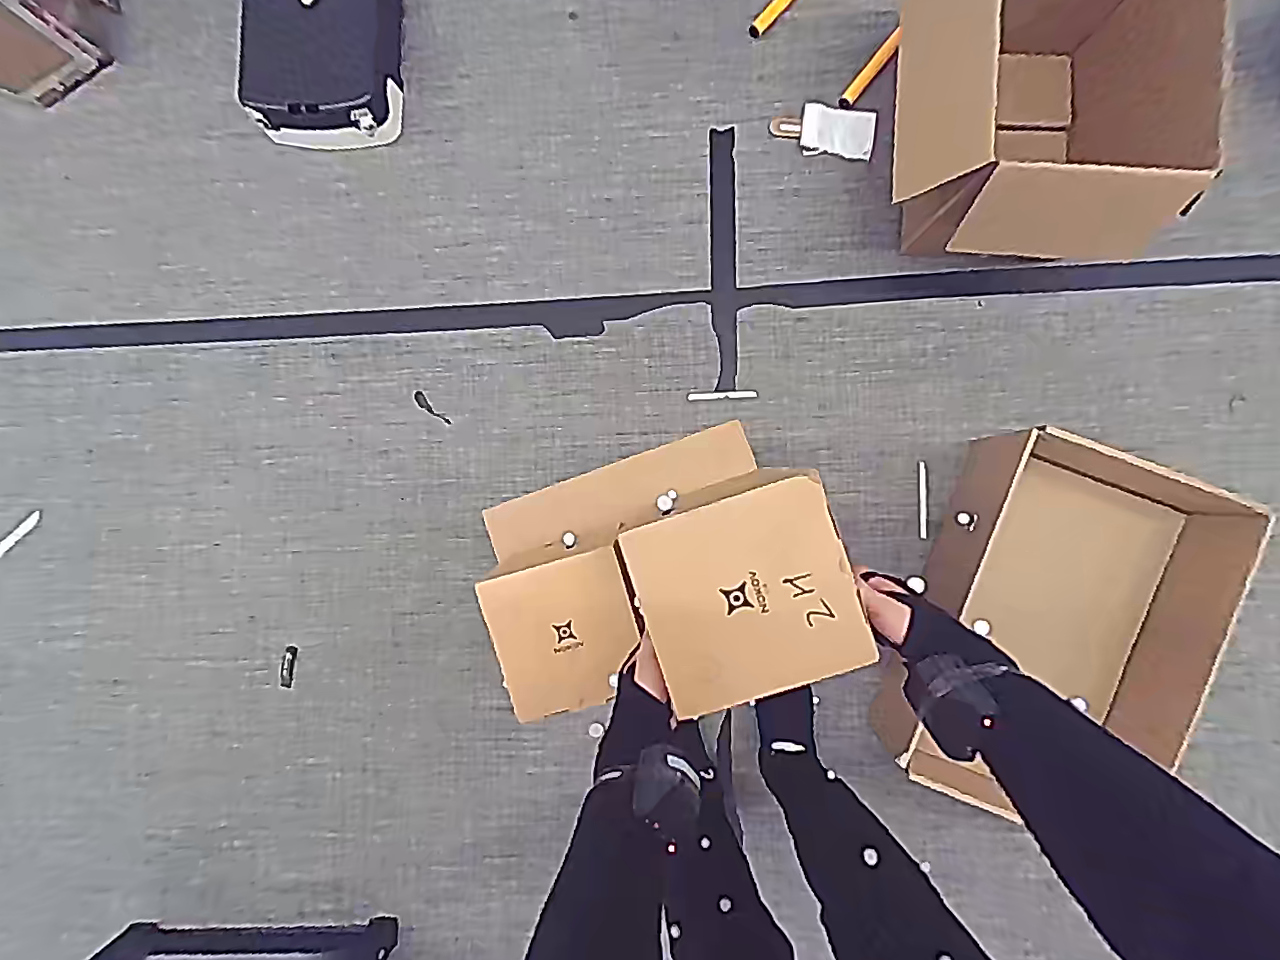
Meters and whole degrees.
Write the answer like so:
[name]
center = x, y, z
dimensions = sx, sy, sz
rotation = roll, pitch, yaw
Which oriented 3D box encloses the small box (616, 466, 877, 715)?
[small box]
center = 0.091, 0.092, 0.519
dimensions = 0.179, 0.176, 0.168
rotation = -18, 89, 3
